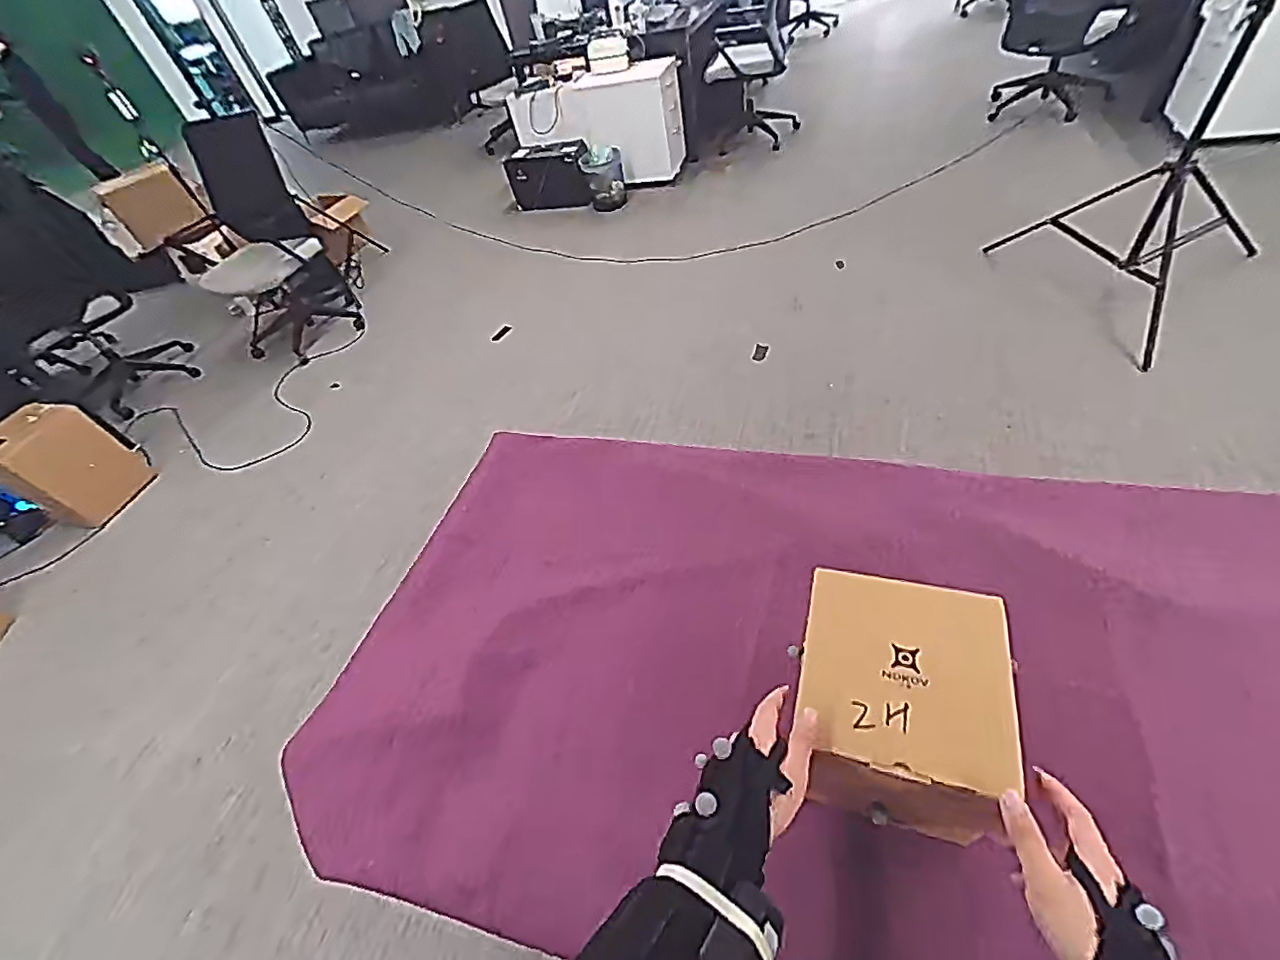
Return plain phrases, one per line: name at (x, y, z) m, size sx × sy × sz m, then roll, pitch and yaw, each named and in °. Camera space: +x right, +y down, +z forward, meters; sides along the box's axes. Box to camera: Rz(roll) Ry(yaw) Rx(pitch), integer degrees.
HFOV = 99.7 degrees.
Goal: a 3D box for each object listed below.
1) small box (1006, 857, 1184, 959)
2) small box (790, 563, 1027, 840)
small box at (0.670, 0.703, 0.807) m, size 0.168 × 0.176 × 0.179 m, roll 6°, pitch 50°, yaw 20°
small box at (0.239, 0.209, 0.517) m, size 0.168 × 0.176 × 0.179 m, roll 7°, pitch 51°, yaw 20°
